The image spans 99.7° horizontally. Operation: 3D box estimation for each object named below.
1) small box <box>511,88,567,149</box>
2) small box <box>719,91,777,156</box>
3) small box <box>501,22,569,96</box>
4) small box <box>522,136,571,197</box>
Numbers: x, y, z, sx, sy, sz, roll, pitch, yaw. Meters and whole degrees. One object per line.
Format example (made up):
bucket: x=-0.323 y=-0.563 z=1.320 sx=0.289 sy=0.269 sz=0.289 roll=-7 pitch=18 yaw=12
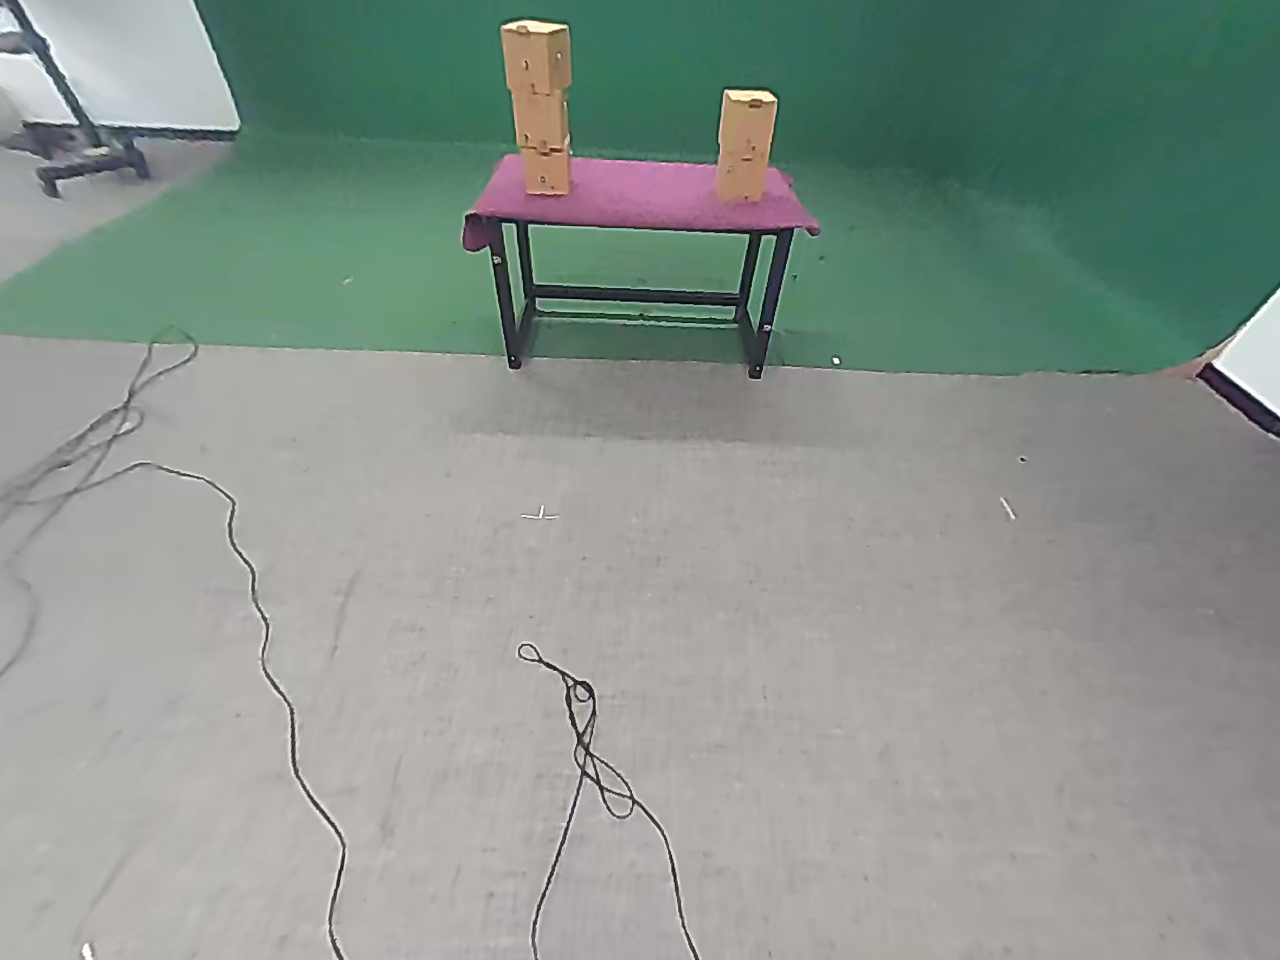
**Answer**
small box: x=-0.359 y=-1.321 z=1.963 sx=0.168 sy=0.176 sz=0.179 roll=5 pitch=46 yaw=0
small box: x=0.391 y=-1.314 z=1.993 sx=0.168 sy=0.176 sz=0.179 roll=-1 pitch=46 yaw=-3
small box: x=-0.351 y=-1.436 z=1.846 sx=0.168 sy=0.176 sz=0.179 roll=18 pitch=50 yaw=11
small box: x=-0.358 y=-1.219 z=2.093 sx=0.168 sy=0.176 sz=0.179 roll=1 pitch=47 yaw=-3
